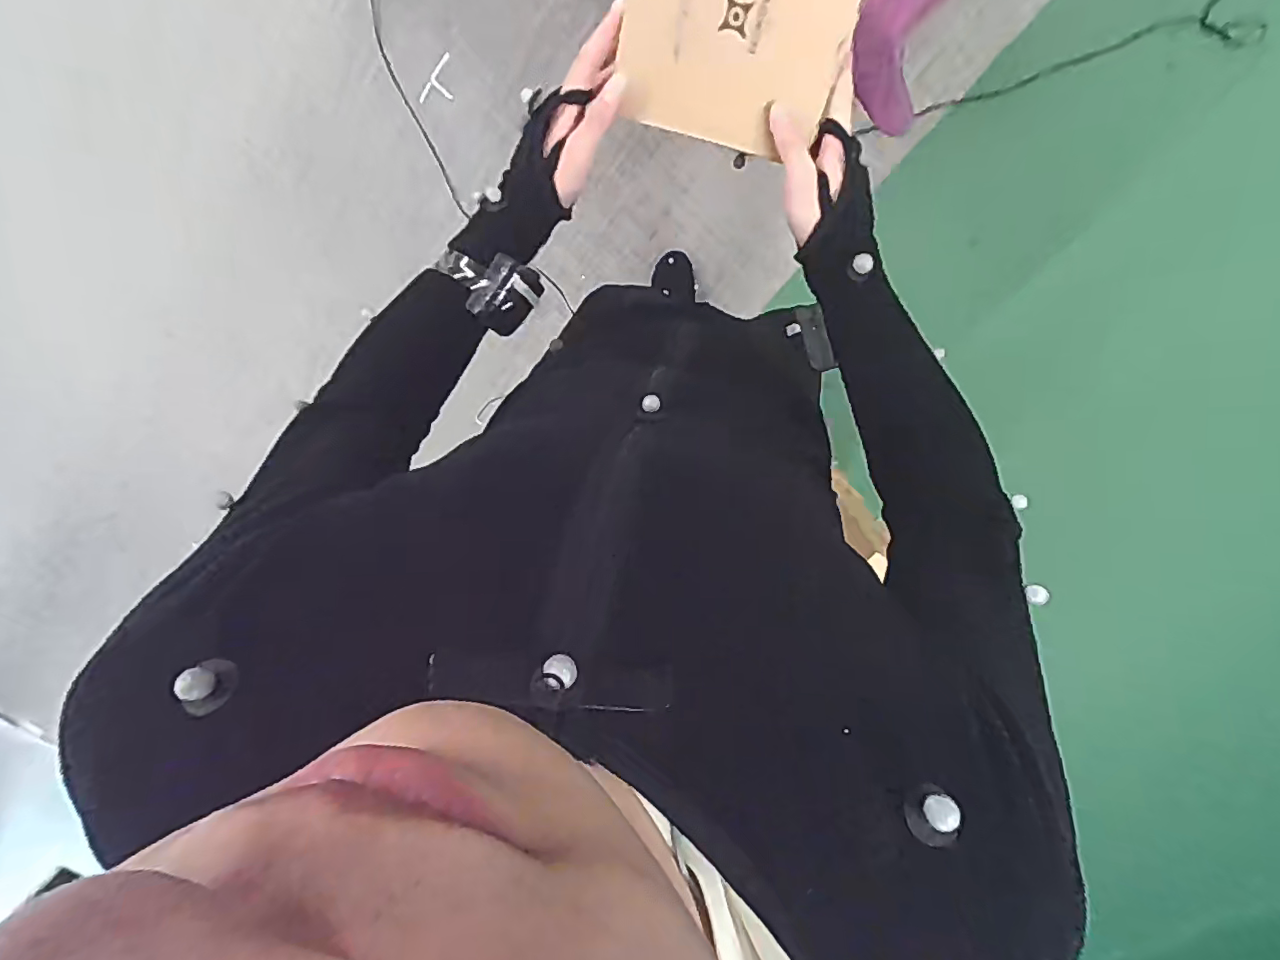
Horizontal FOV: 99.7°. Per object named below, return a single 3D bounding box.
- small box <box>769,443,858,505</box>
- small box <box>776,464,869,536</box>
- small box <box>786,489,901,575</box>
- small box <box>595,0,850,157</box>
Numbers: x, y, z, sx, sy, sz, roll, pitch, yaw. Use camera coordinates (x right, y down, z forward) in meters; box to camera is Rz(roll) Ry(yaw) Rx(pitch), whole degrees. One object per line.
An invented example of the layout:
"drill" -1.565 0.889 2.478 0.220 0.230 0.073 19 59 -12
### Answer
"small box" 0.494 0.022 1.574 0.168 0.176 0.179 40 110 -11
"small box" 0.478 0.089 1.428 0.168 0.176 0.179 38 110 -10
"small box" 0.468 0.151 1.276 0.168 0.176 0.179 36 111 -9
"small box" 0.065 -0.400 0.467 0.179 0.176 0.168 10 124 -8
